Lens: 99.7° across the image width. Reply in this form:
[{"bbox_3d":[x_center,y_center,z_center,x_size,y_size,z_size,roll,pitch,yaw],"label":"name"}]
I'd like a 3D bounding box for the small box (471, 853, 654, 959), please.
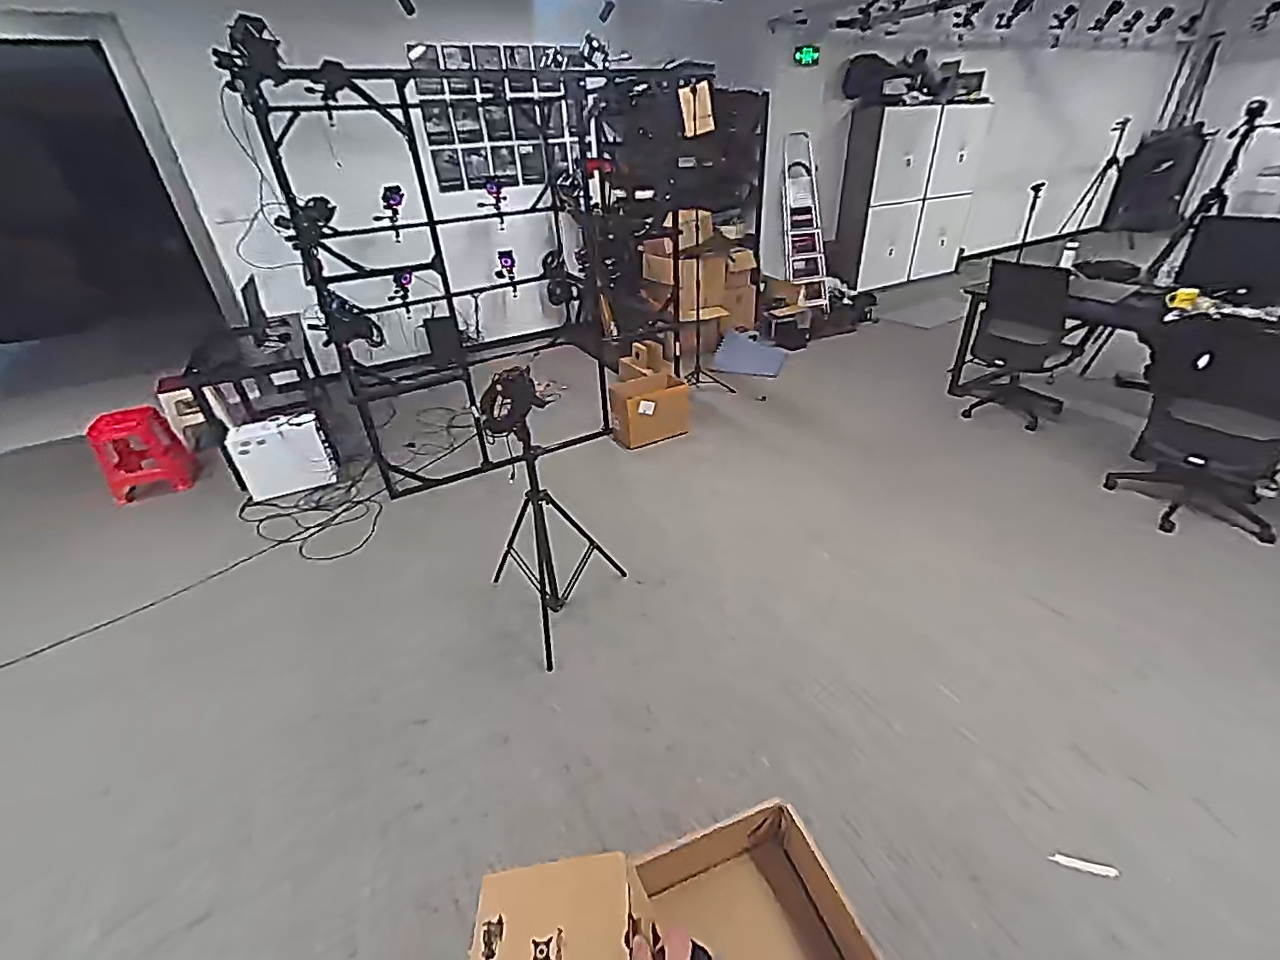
[{"bbox_3d":[-0.077,0.552,0.599,0.179,0.176,0.168,-10,32,3],"label":"small box"}]
